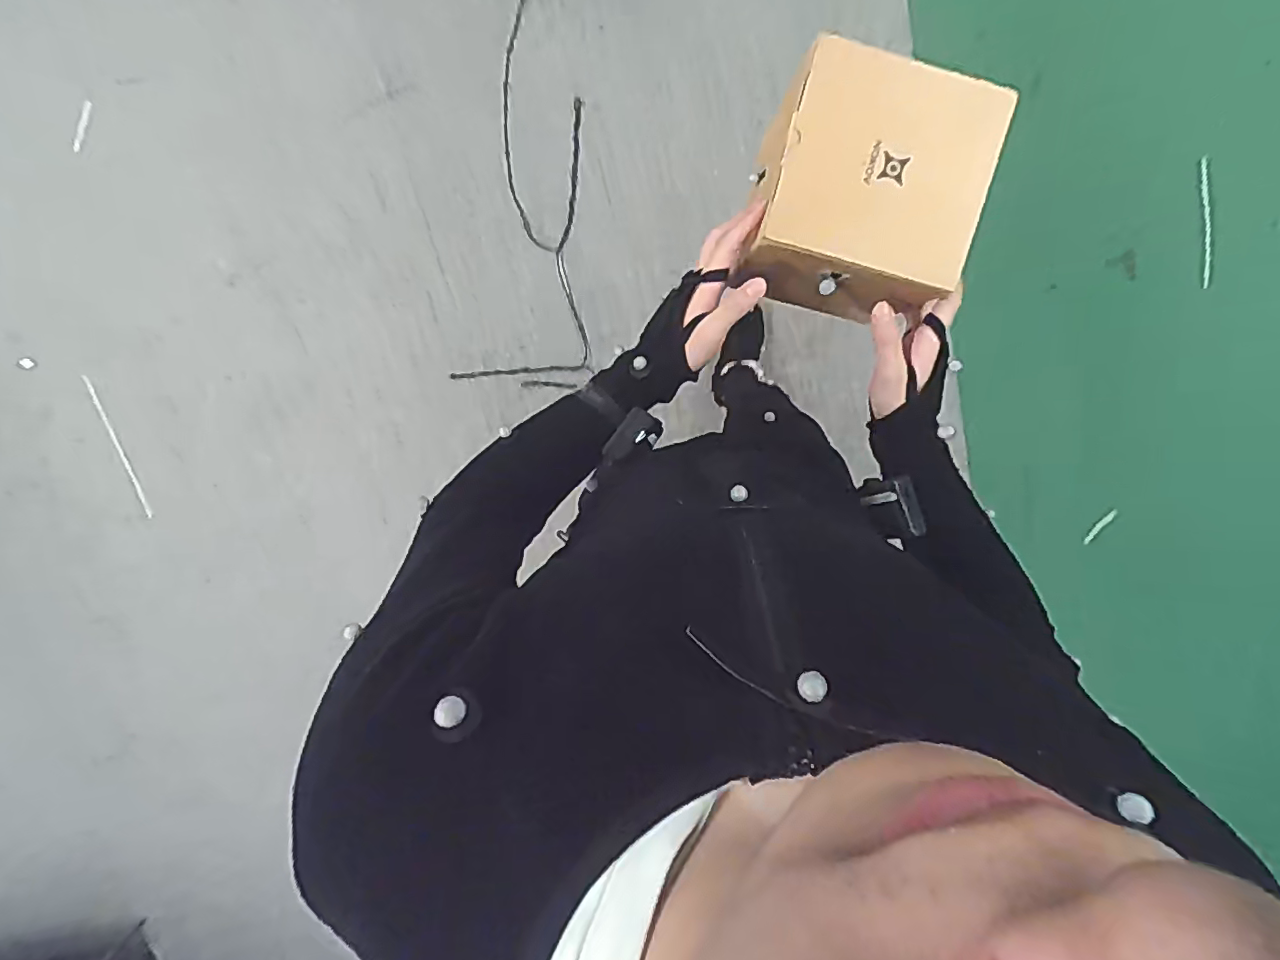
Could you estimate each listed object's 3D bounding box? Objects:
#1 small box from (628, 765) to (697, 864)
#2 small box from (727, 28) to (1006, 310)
[{"bbox_3d":[0.066,0.943,1.542,0.168,0.176,0.179,-10,100,6],"label":"small box"},{"bbox_3d":[0.199,-0.278,0.530,0.179,0.176,0.168,15,95,-1],"label":"small box"}]
